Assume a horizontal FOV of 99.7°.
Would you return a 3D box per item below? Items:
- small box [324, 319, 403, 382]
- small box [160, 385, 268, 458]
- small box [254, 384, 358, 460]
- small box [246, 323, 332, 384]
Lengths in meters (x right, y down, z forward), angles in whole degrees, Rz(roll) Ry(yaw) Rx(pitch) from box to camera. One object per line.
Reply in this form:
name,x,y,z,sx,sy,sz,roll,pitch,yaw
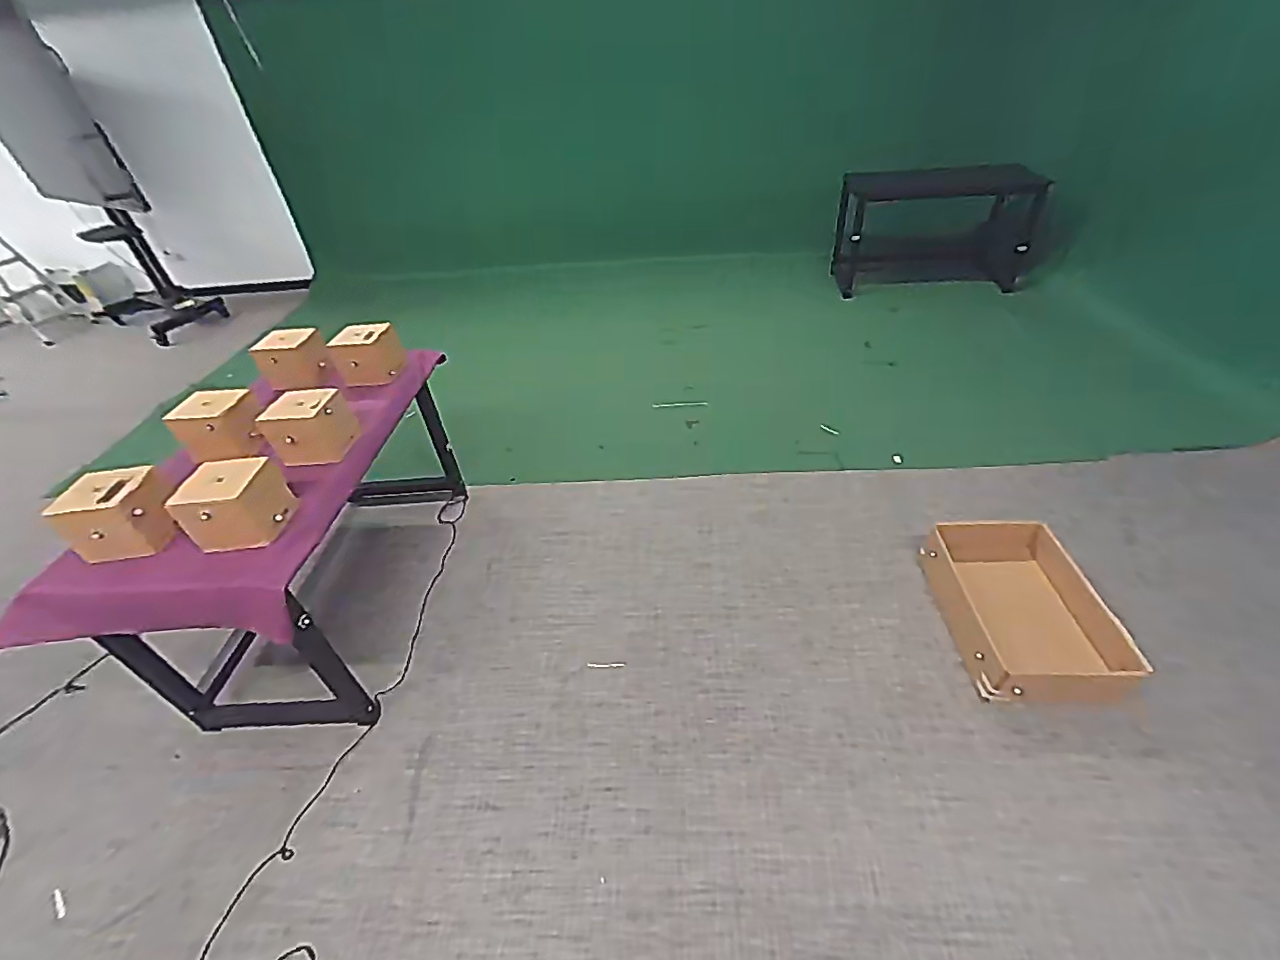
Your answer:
small box,-1.008,-0.476,1.990,0.179,0.176,0.168,-1,41,8
small box,-1.306,-0.180,1.678,0.179,0.176,0.168,-2,40,2
small box,-0.996,-0.171,1.629,0.179,0.176,0.168,-3,40,5
small box,-1.298,-0.467,2.013,0.179,0.176,0.168,-1,41,3
